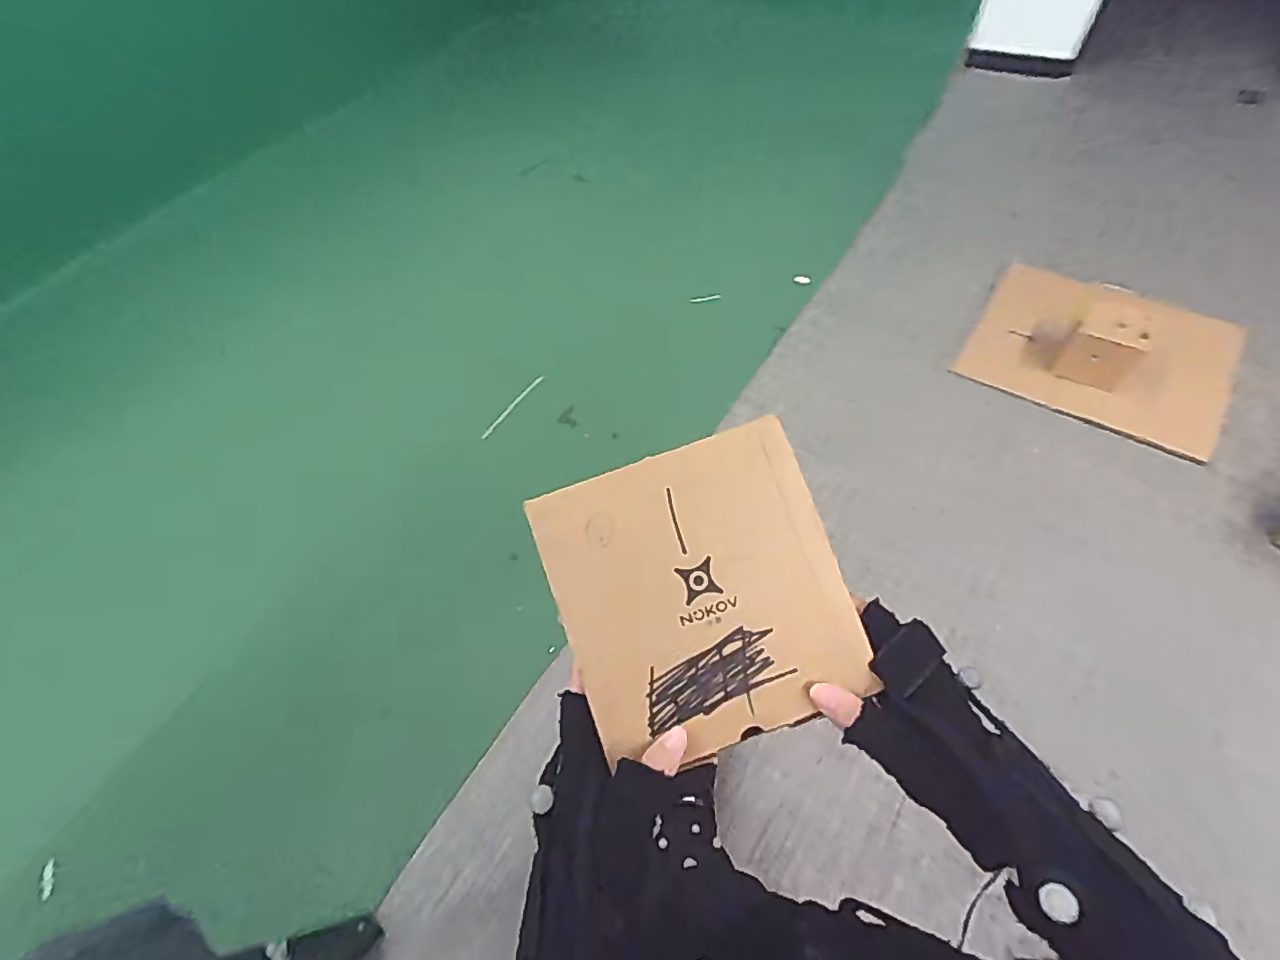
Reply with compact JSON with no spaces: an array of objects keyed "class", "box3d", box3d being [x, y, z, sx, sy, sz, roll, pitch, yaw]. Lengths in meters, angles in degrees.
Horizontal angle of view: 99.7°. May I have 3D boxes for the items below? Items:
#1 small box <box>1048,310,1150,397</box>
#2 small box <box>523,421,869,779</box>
[{"class":"small box","box3d":[1.375,-0.378,1.628,0.179,0.176,0.168,24,62,22]},{"class":"small box","box3d":[0.034,0.077,0.408,0.168,0.176,0.179,-22,84,-2]}]
